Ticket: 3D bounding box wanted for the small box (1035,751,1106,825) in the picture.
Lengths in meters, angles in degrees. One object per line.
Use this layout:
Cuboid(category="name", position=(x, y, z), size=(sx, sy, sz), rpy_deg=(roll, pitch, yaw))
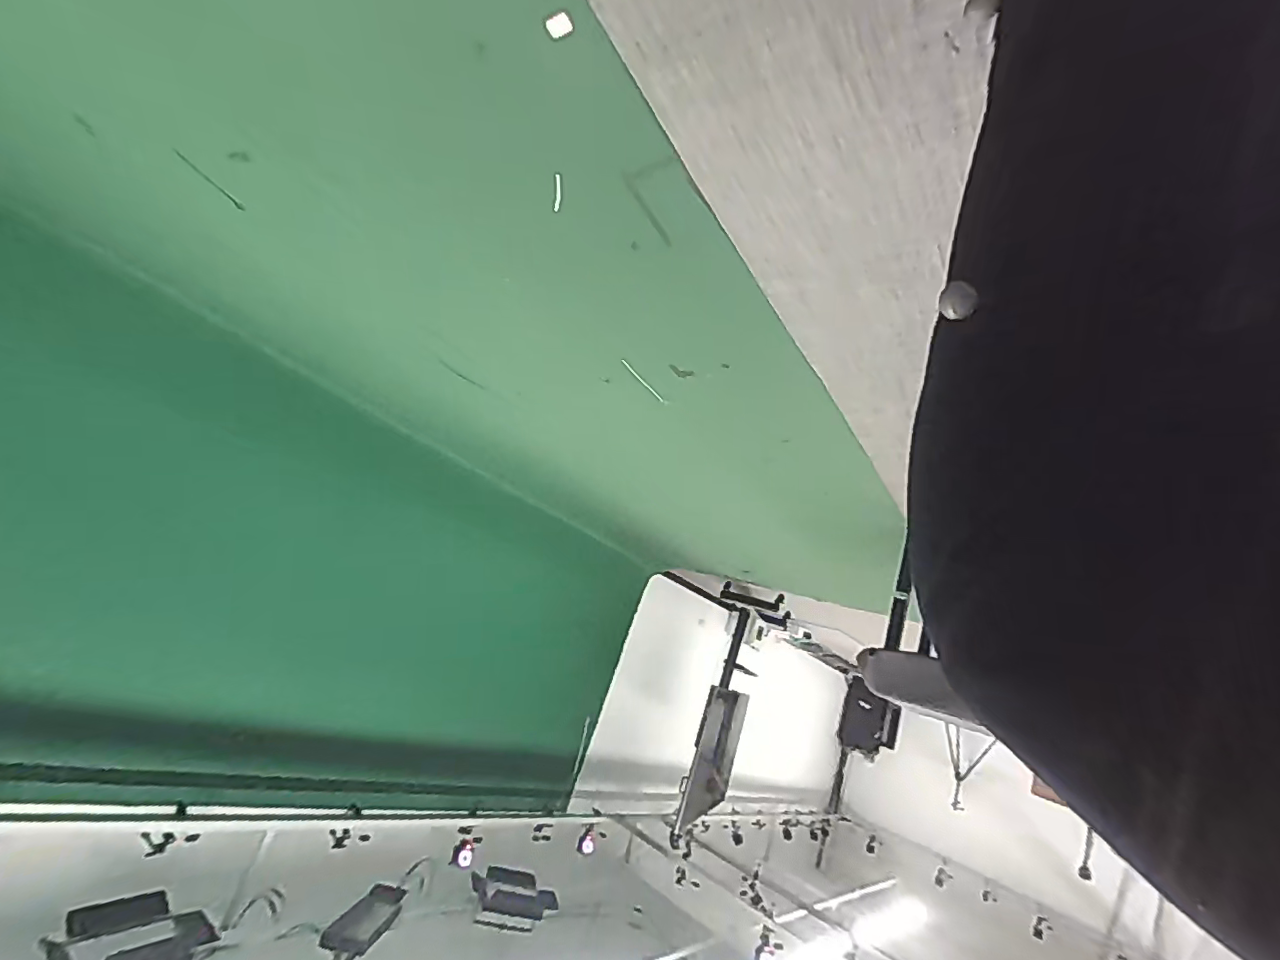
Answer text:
Cuboid(category="small box", position=(1.473, 1.047, 1.848), size=(0.179, 0.176, 0.168), rpy_deg=(7, 158, 42))
